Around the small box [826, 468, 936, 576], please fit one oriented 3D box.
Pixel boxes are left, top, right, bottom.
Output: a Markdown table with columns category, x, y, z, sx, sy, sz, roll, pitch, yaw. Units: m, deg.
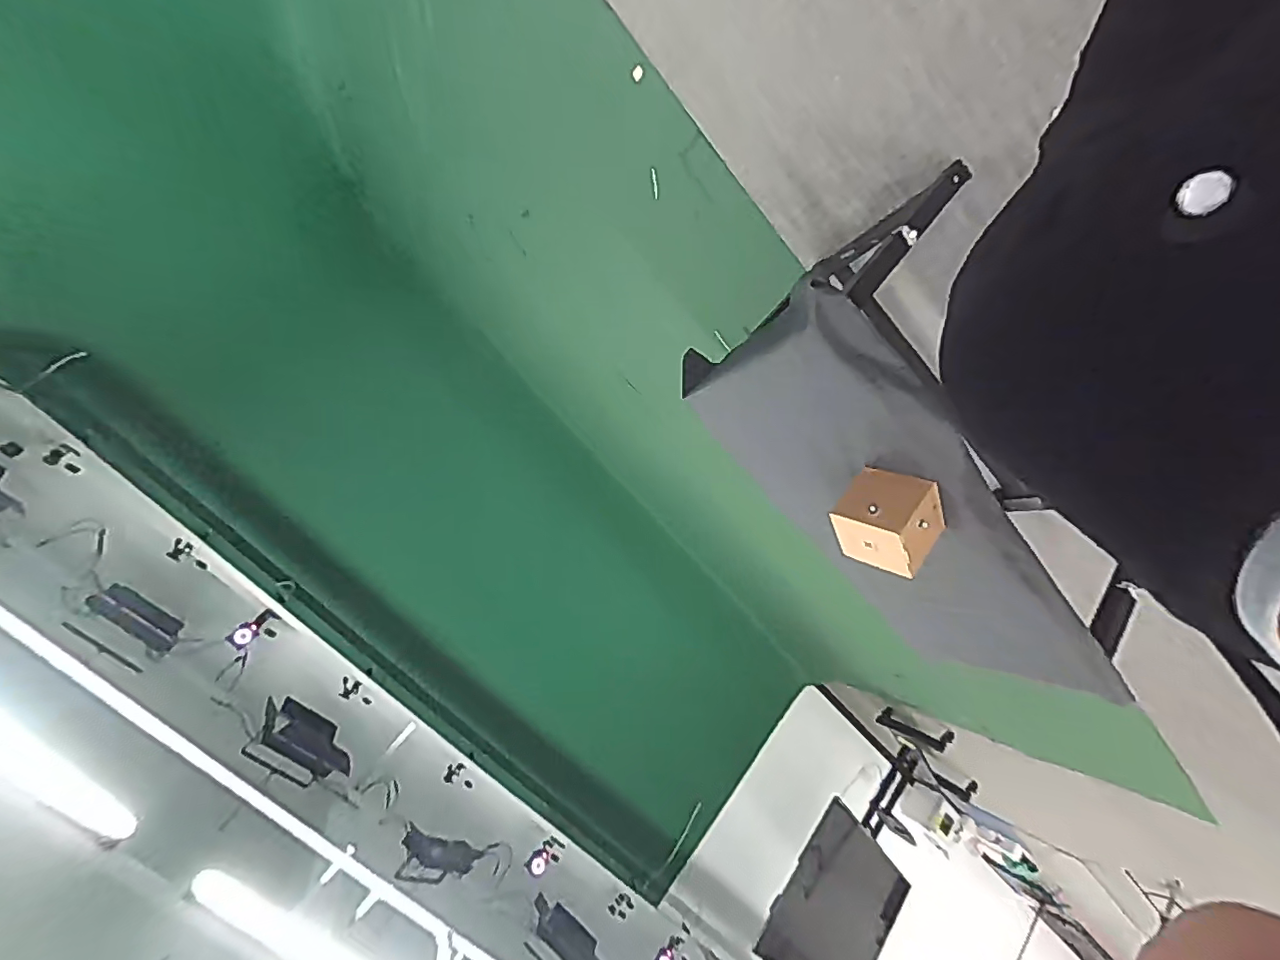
| category | x | y | z | sx | sy | sz | roll | pitch | yaw |
| --- | --- | --- | --- | --- | --- | --- | --- | --- | --- |
| small box | 0.581 | 0.092 | 1.285 | 0.179 | 0.176 | 0.168 | 21 | 151 | 49 |
